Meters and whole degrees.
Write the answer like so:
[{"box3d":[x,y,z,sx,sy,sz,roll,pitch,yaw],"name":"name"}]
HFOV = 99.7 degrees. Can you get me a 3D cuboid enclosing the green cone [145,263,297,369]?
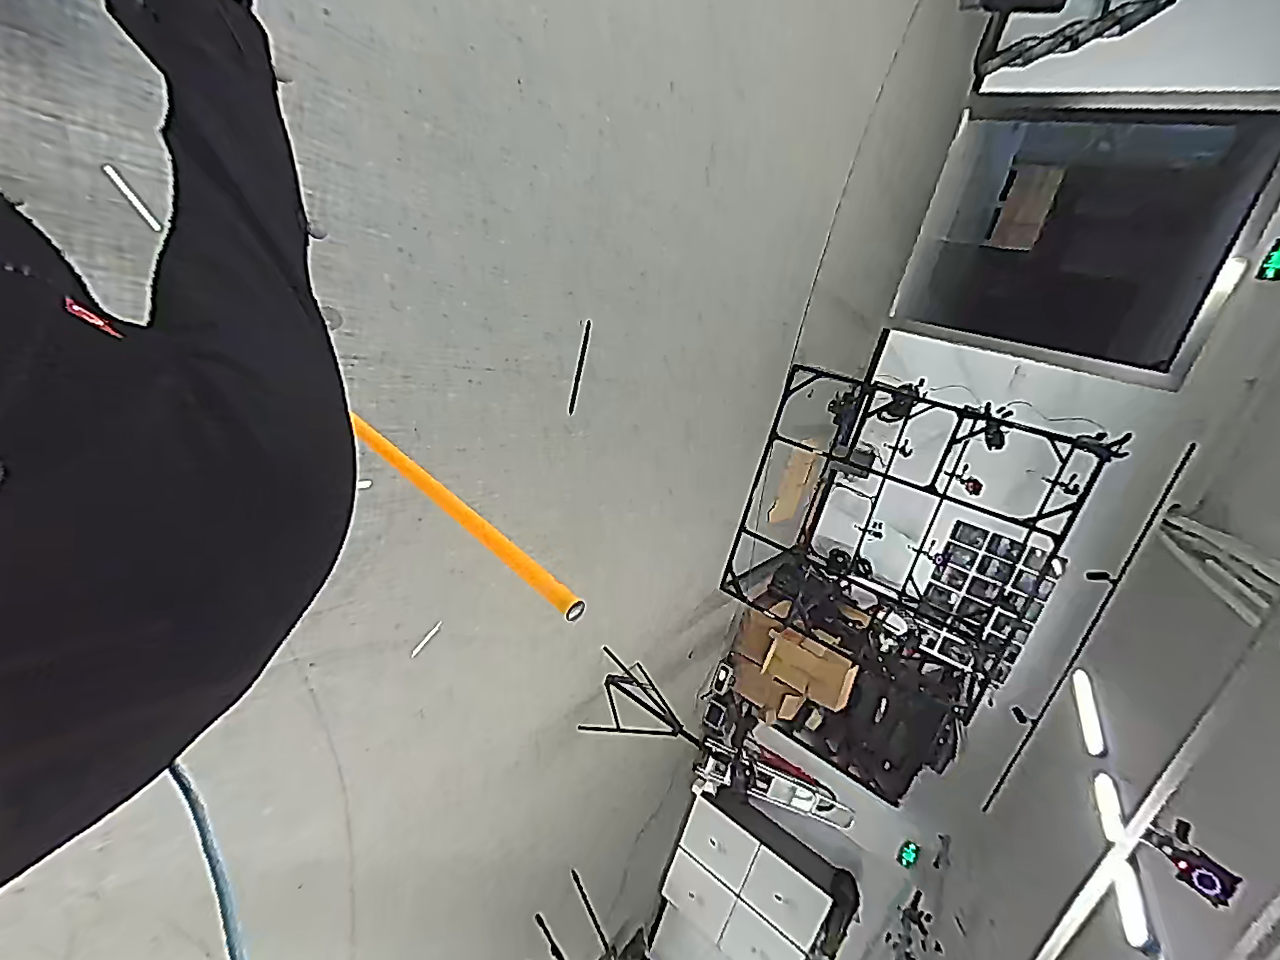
[{"box3d":[-0.820,-0.292,1.109,0.202,0.368,0.200,-4,115,-58],"name":"green cone"}]
